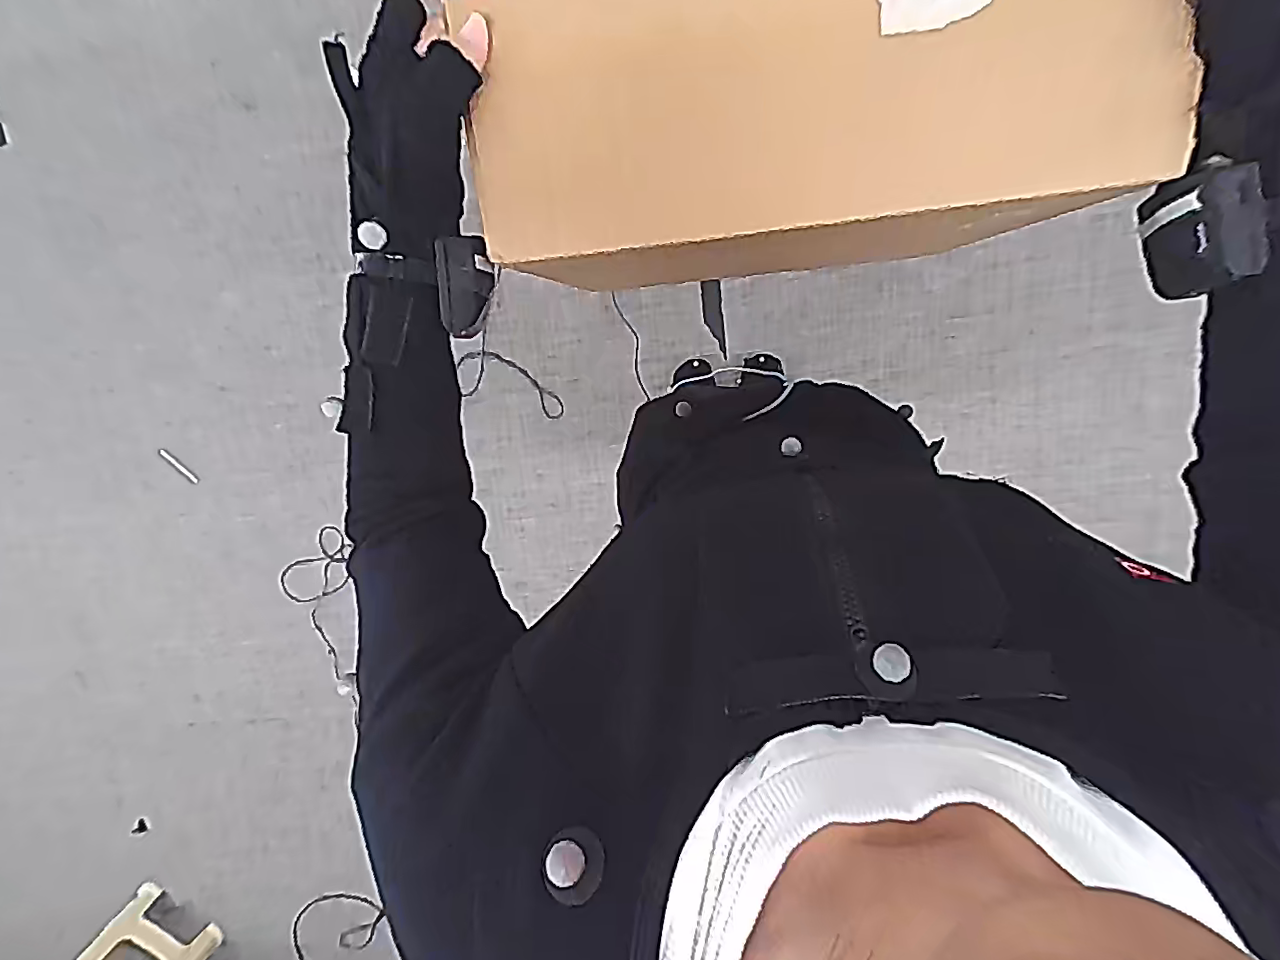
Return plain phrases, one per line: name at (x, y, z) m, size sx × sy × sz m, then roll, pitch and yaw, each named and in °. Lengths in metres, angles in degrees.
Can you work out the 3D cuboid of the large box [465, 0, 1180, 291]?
large box at (0.101, -0.351, 0.442) m, size 0.408 × 0.320 × 0.320 m, roll -5°, pitch 106°, yaw 7°
